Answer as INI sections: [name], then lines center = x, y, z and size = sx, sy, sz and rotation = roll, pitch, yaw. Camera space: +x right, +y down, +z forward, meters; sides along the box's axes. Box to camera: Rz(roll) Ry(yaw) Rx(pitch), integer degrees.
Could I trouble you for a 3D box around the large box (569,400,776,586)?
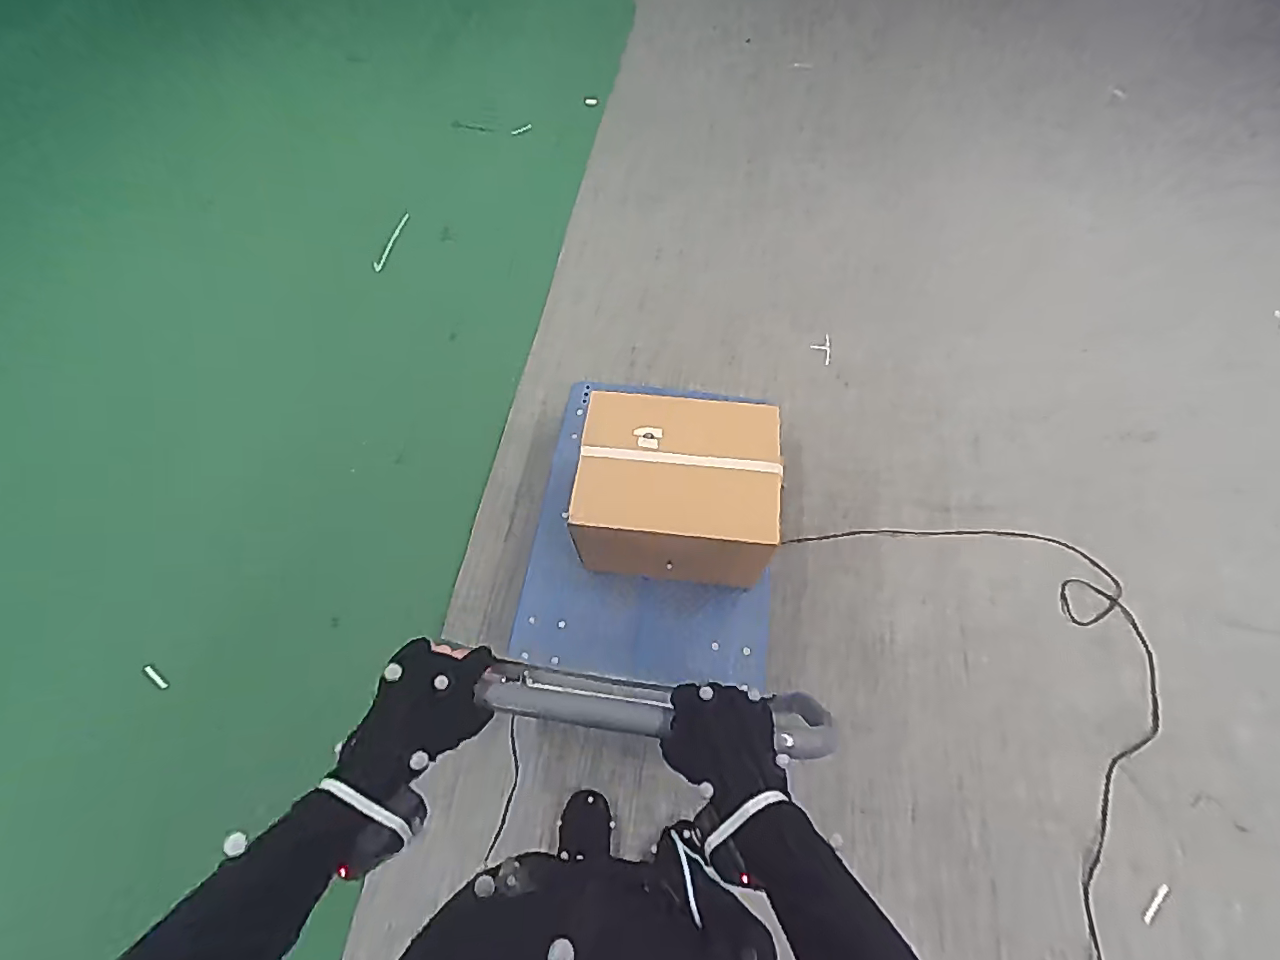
[large box]
center = 0.082, 0.040, 1.230
size = 0.408, 0.320, 0.320
rotation = 5, 63, 6
